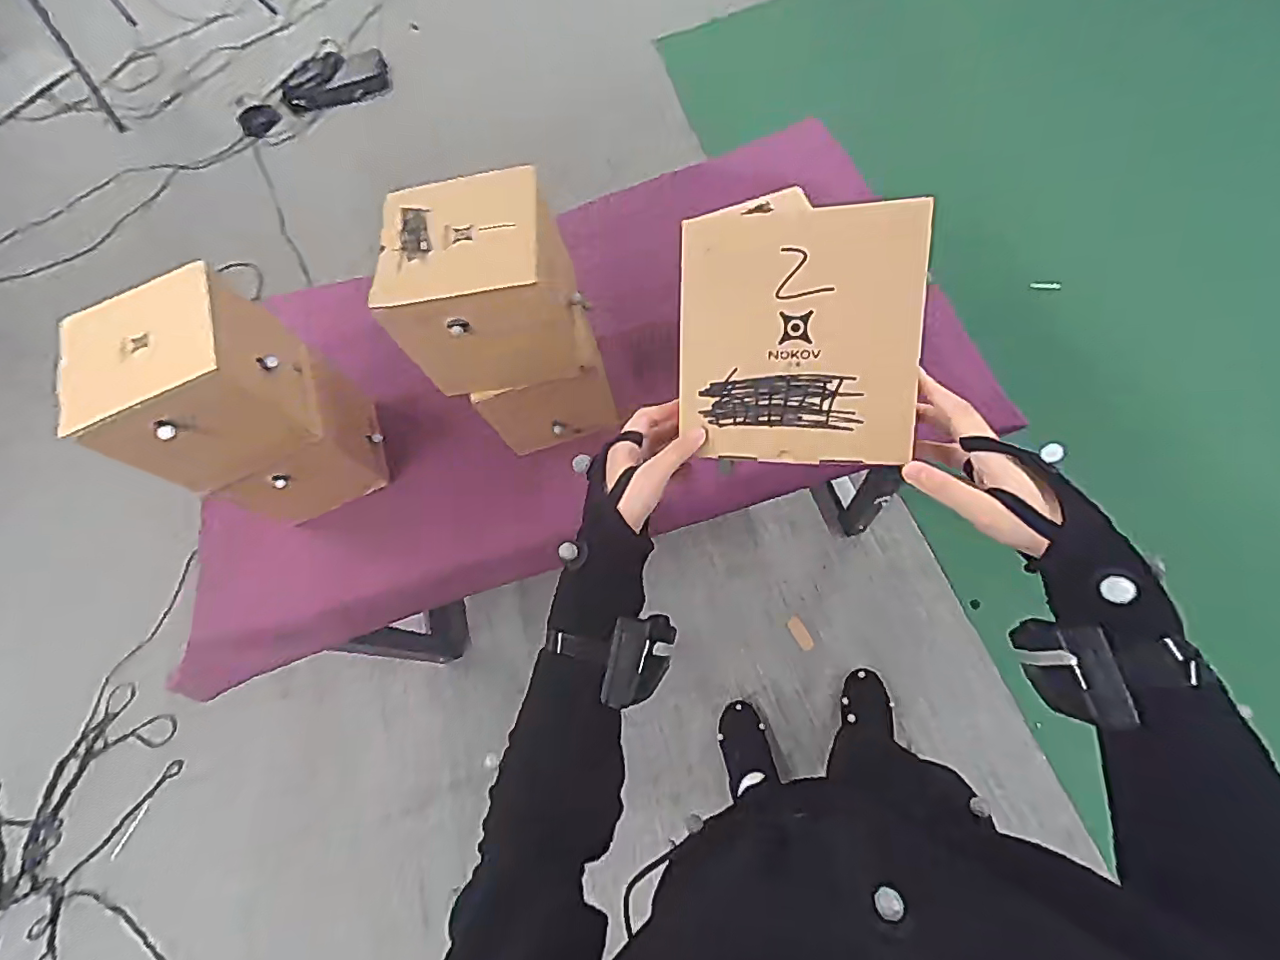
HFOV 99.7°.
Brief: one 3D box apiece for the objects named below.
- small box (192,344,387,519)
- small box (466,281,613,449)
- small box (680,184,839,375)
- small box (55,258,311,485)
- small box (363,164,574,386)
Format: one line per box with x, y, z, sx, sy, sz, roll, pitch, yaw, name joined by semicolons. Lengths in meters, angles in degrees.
-0.509;-0.061;0.797;0.179;0.176;0.168;-23;67;-1;small box
-0.148;-0.172;0.782;0.168;0.176;0.179;-18;68;3;small box
0.162;-0.269;0.769;0.168;0.176;0.179;-16;67;3;small box
-0.527;-0.119;0.647;0.179;0.176;0.168;-25;68;0;small box
-0.183;-0.224;0.630;0.179;0.176;0.168;-6;67;5;small box
